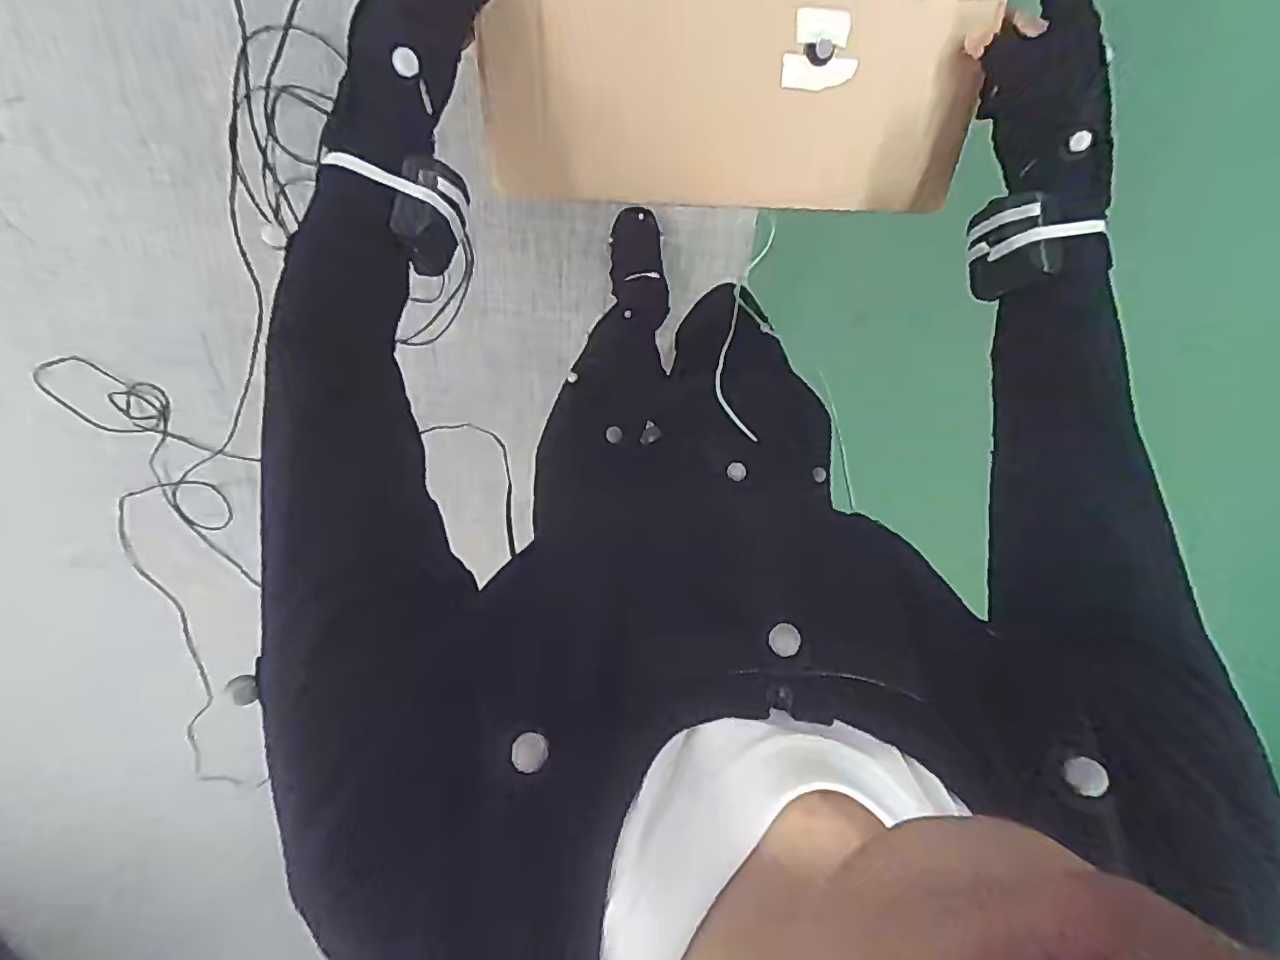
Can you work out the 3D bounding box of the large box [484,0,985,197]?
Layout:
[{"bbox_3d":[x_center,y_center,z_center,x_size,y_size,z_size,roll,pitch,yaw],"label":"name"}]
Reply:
[{"bbox_3d":[0.071,-0.472,0.540,0.408,0.320,0.320,1,123,-2],"label":"large box"}]
